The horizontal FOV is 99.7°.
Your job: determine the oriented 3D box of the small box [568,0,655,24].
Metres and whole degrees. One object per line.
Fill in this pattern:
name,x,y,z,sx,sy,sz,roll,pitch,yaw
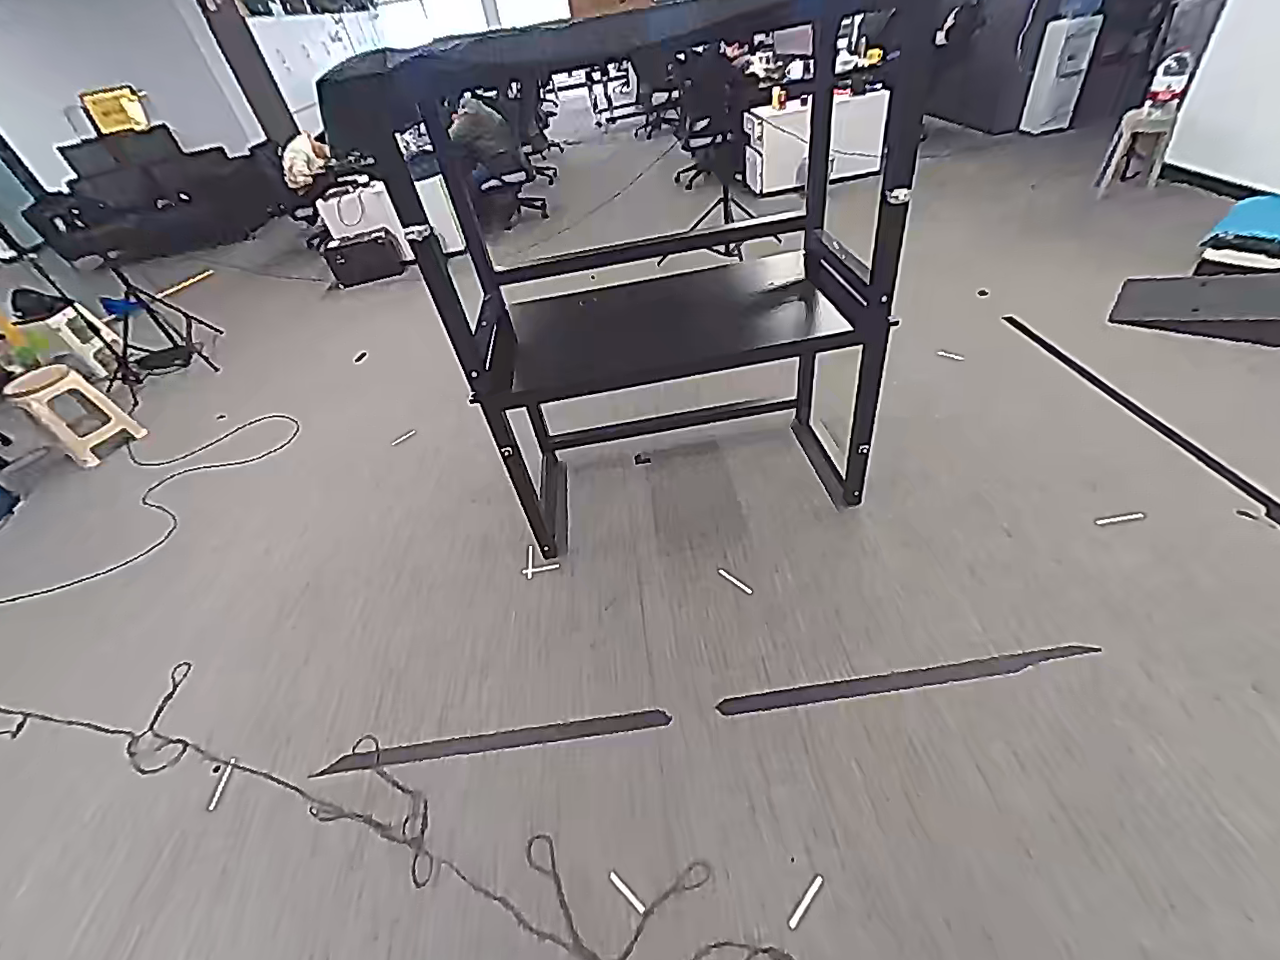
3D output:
small box,-0.069,-1.010,1.052,0.168,0.176,0.179,-10,39,2
